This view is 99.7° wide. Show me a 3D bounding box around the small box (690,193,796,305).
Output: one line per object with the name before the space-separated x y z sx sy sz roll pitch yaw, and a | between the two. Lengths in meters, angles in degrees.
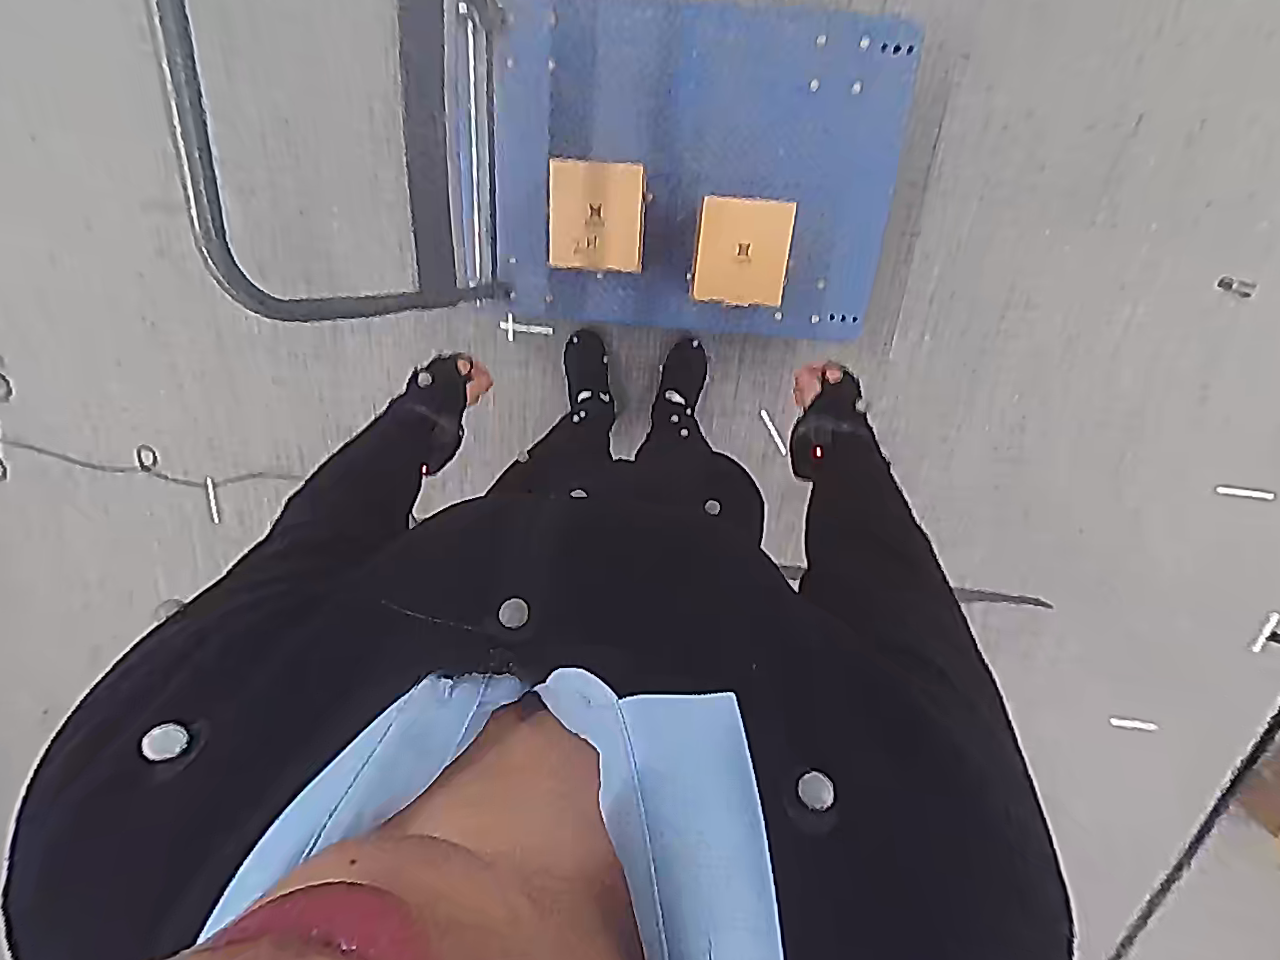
small box | 0.189 -0.441 1.048 0.168 0.176 0.179 5 111 1

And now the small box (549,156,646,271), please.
small box | -0.077 -0.501 1.036 0.168 0.176 0.179 5 111 2
